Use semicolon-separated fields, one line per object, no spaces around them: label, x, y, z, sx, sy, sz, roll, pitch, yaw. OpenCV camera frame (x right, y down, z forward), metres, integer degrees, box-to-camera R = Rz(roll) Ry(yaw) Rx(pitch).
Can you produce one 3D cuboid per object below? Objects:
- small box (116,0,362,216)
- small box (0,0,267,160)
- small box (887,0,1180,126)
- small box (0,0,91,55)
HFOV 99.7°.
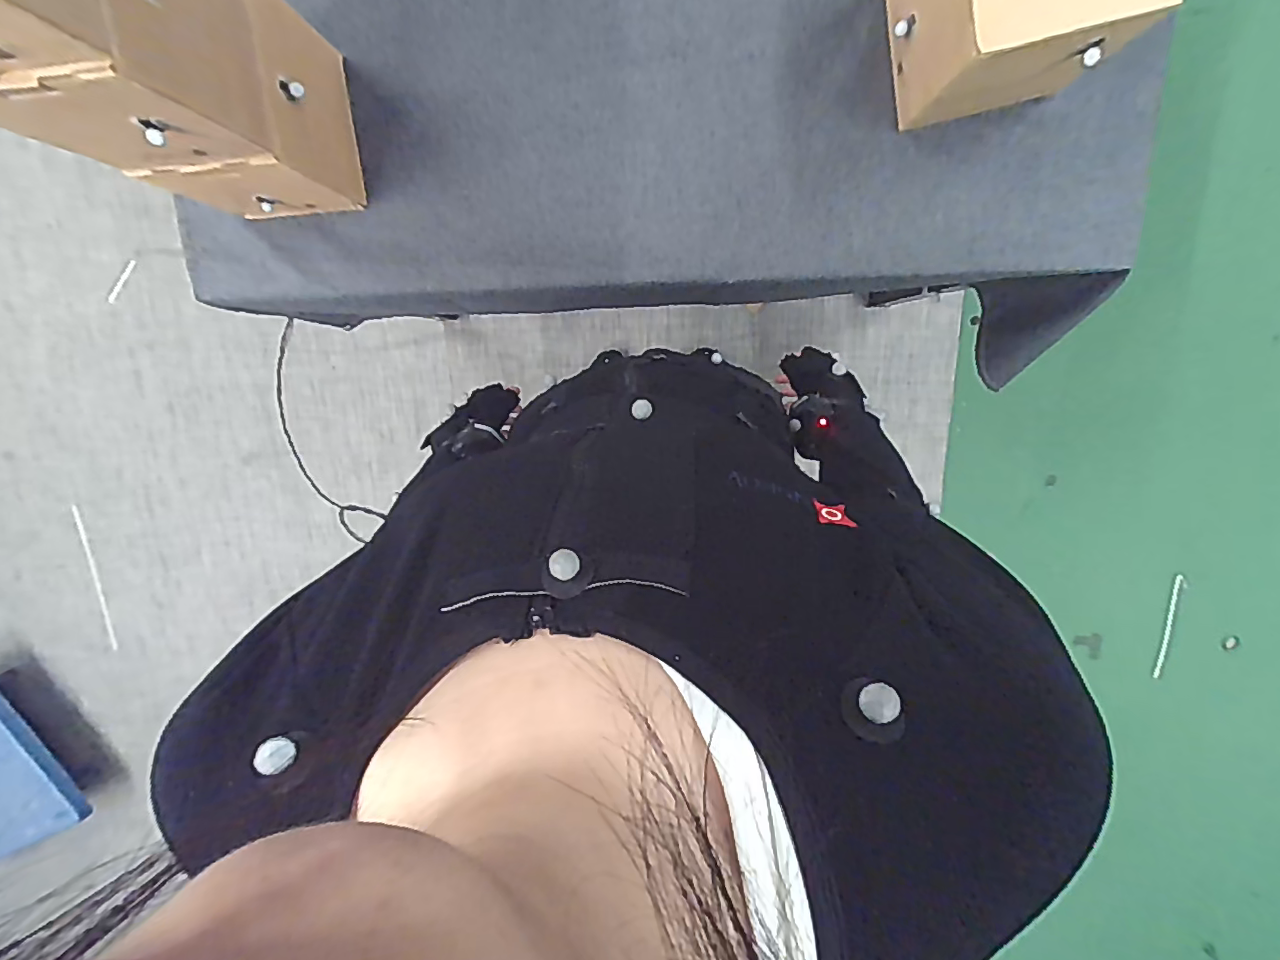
small box;-0.440;-0.412;0.596;0.168;0.176;0.179;-3;103;3
small box;-0.445;-0.379;0.437;0.168;0.176;0.179;-3;103;2
small box;0.370;-0.487;0.534;0.179;0.176;0.168;-11;102;6
small box;-0.452;-0.349;0.276;0.168;0.176;0.179;-4;102;2
